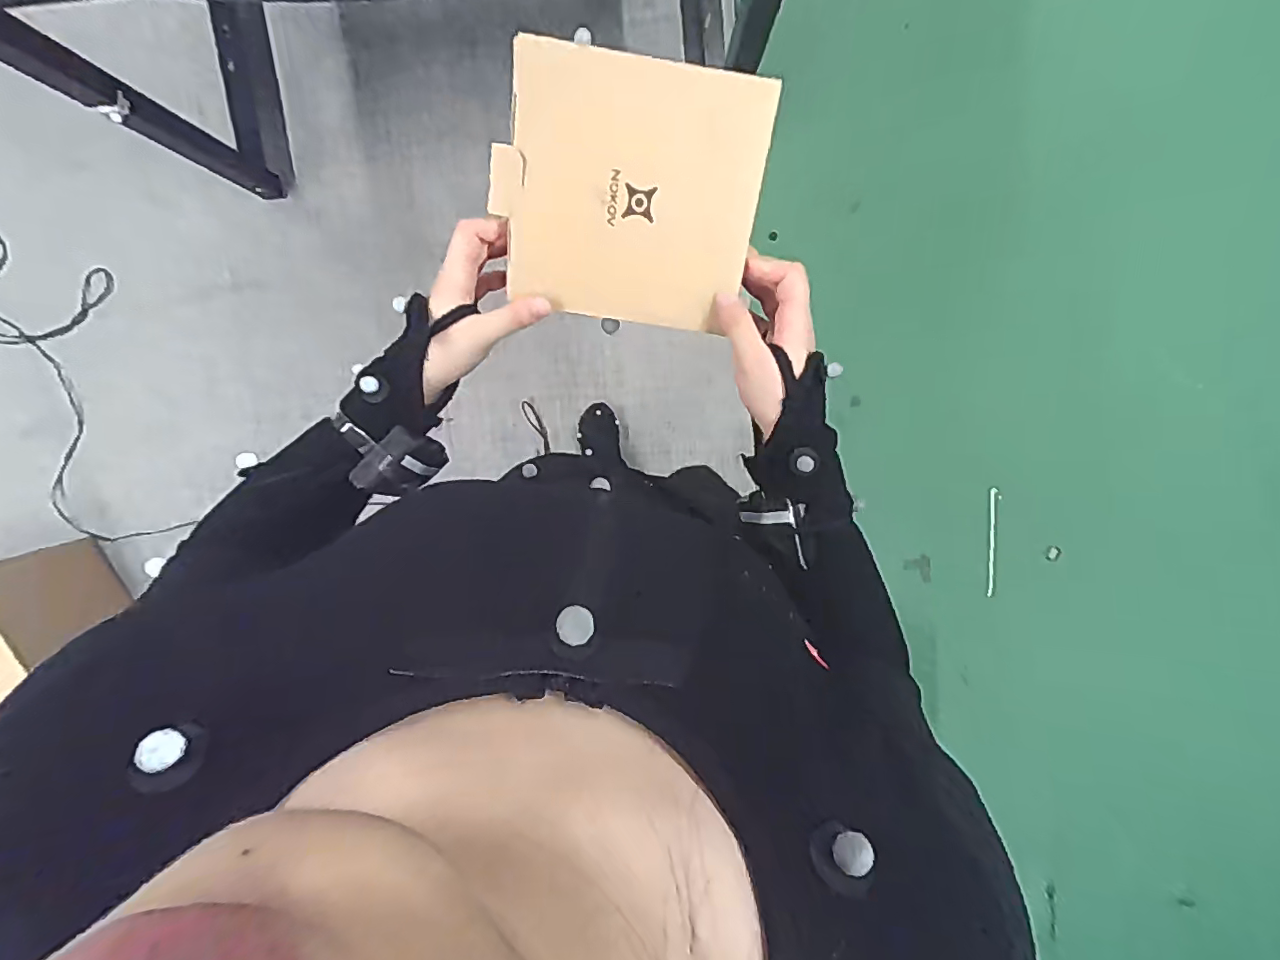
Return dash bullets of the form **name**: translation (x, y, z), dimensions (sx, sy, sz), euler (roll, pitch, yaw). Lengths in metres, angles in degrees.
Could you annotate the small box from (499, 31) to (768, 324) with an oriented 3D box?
- **small box**: translation (-0.011, -0.239, 0.455), dimensions (0.179, 0.176, 0.168), euler (7, 115, -2)
